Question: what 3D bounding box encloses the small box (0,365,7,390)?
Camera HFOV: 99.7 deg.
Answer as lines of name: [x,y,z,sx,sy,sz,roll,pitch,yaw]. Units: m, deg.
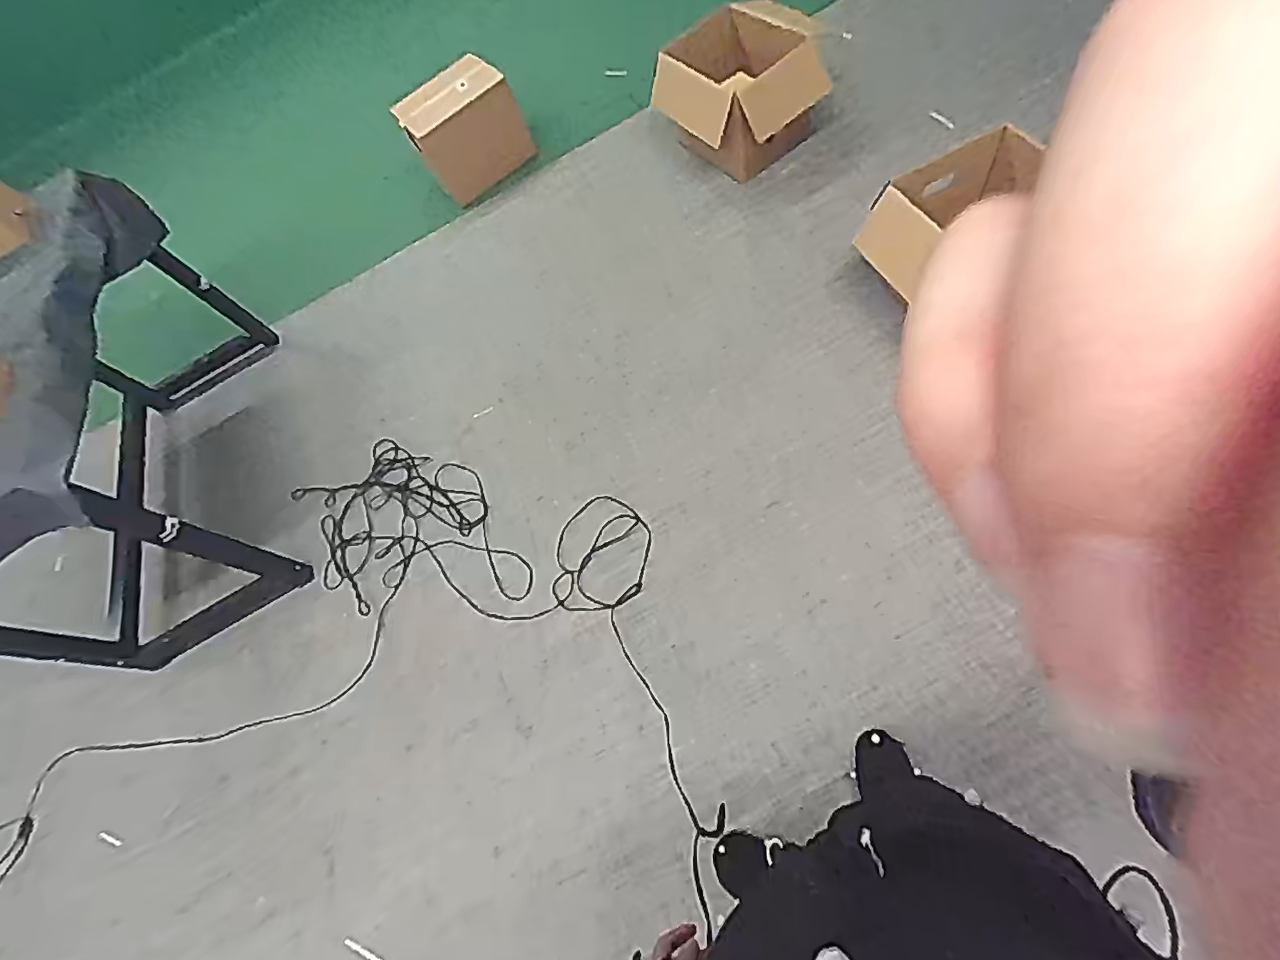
small box: [-1.438,-0.185,1.073,0.168,0.176,0.179,-27,59,1]
